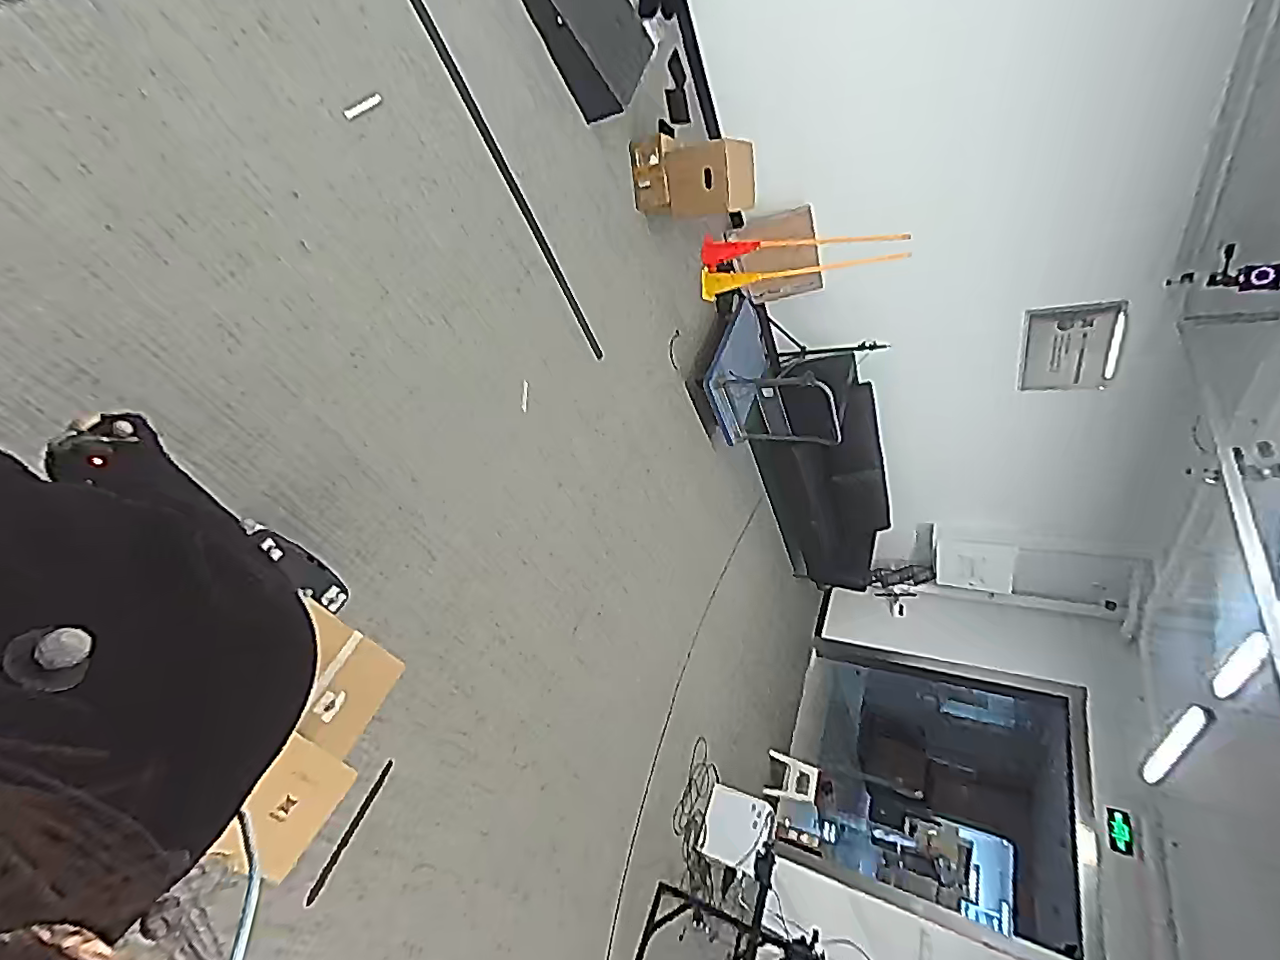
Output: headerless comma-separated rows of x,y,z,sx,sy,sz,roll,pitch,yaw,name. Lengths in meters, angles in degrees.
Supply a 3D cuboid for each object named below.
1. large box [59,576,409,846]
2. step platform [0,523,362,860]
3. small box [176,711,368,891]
-0.764,0.451,1.065,0.408,0.320,0.320,-63,141,-34,large box
-0.965,0.418,1.191,0.684,0.204,0.286,-59,138,-38,step platform
-0.596,0.508,0.874,0.179,0.176,0.168,-58,137,-38,small box
